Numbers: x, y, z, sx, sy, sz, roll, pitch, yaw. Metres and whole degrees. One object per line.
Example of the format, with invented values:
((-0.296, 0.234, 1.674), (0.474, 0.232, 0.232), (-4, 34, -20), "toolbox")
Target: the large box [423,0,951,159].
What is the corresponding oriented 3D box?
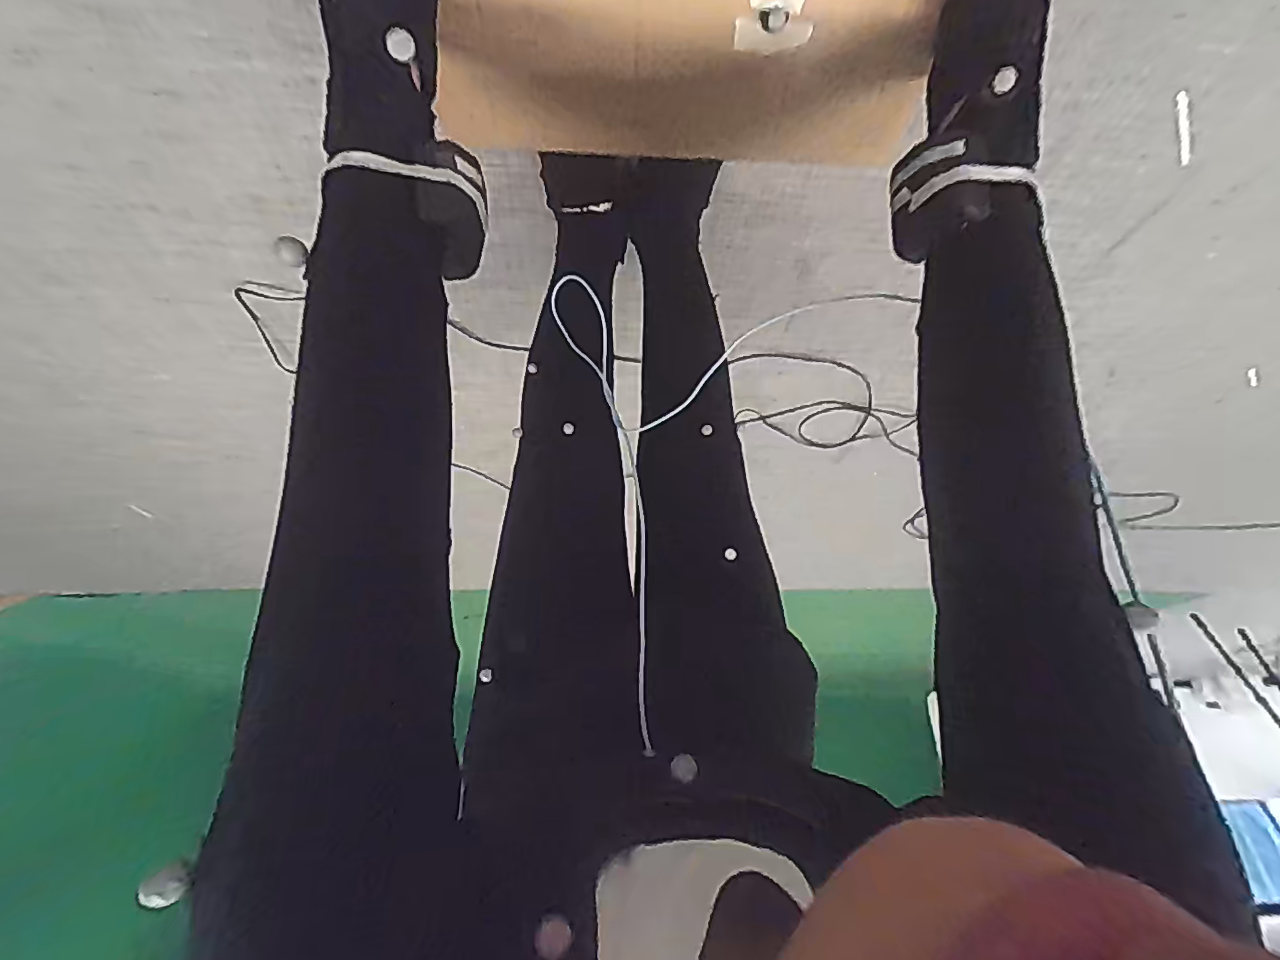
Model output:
((0.034, -0.507, 0.445), (0.408, 0.320, 0.320), (1, 150, -2), "large box")
